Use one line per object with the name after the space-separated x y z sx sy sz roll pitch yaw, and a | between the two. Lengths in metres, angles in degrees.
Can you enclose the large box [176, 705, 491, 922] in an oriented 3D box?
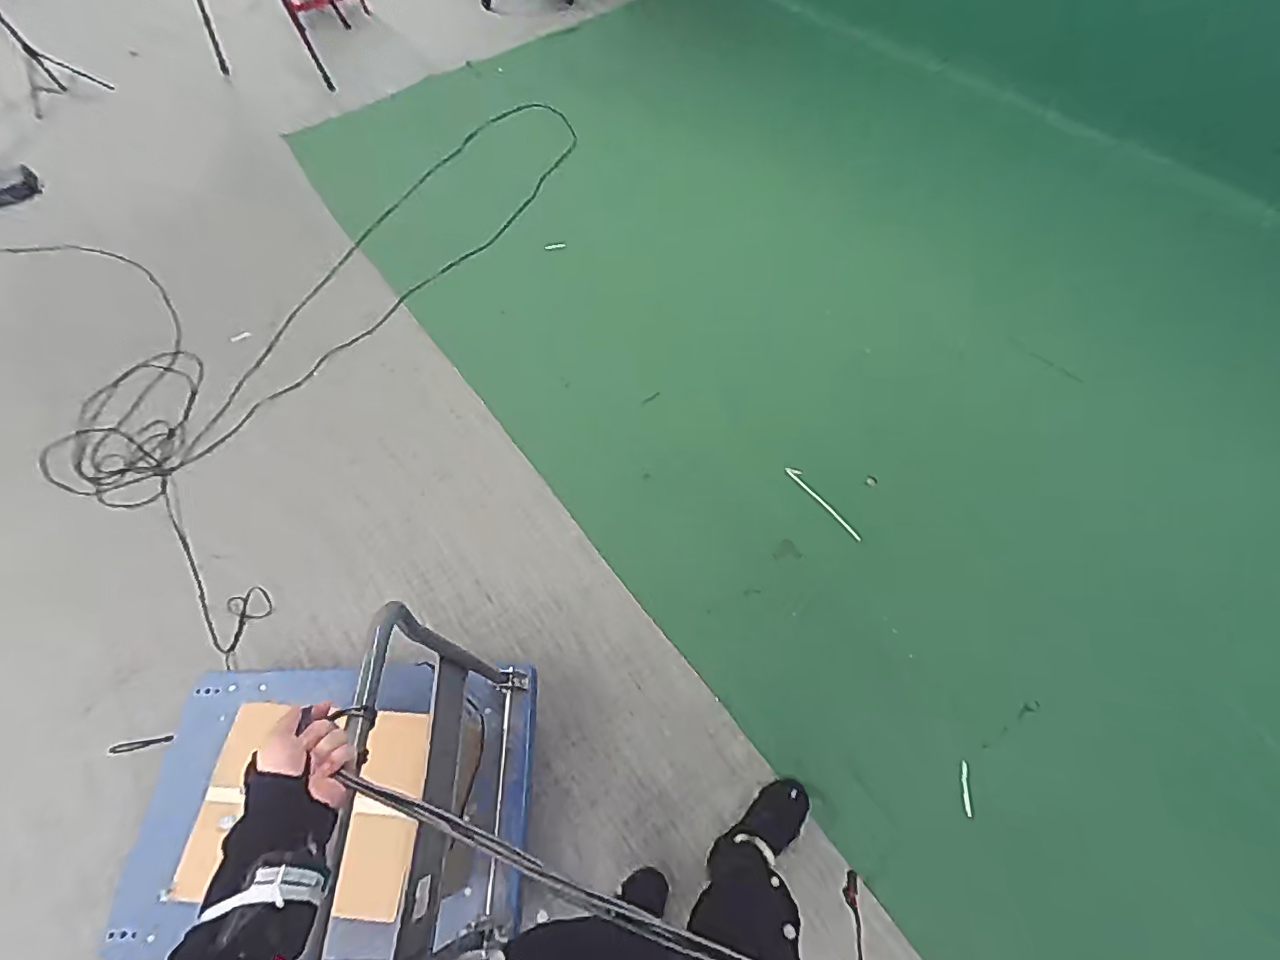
-0.557 0.640 1.082 0.408 0.320 0.320 1 61 5 | large box
